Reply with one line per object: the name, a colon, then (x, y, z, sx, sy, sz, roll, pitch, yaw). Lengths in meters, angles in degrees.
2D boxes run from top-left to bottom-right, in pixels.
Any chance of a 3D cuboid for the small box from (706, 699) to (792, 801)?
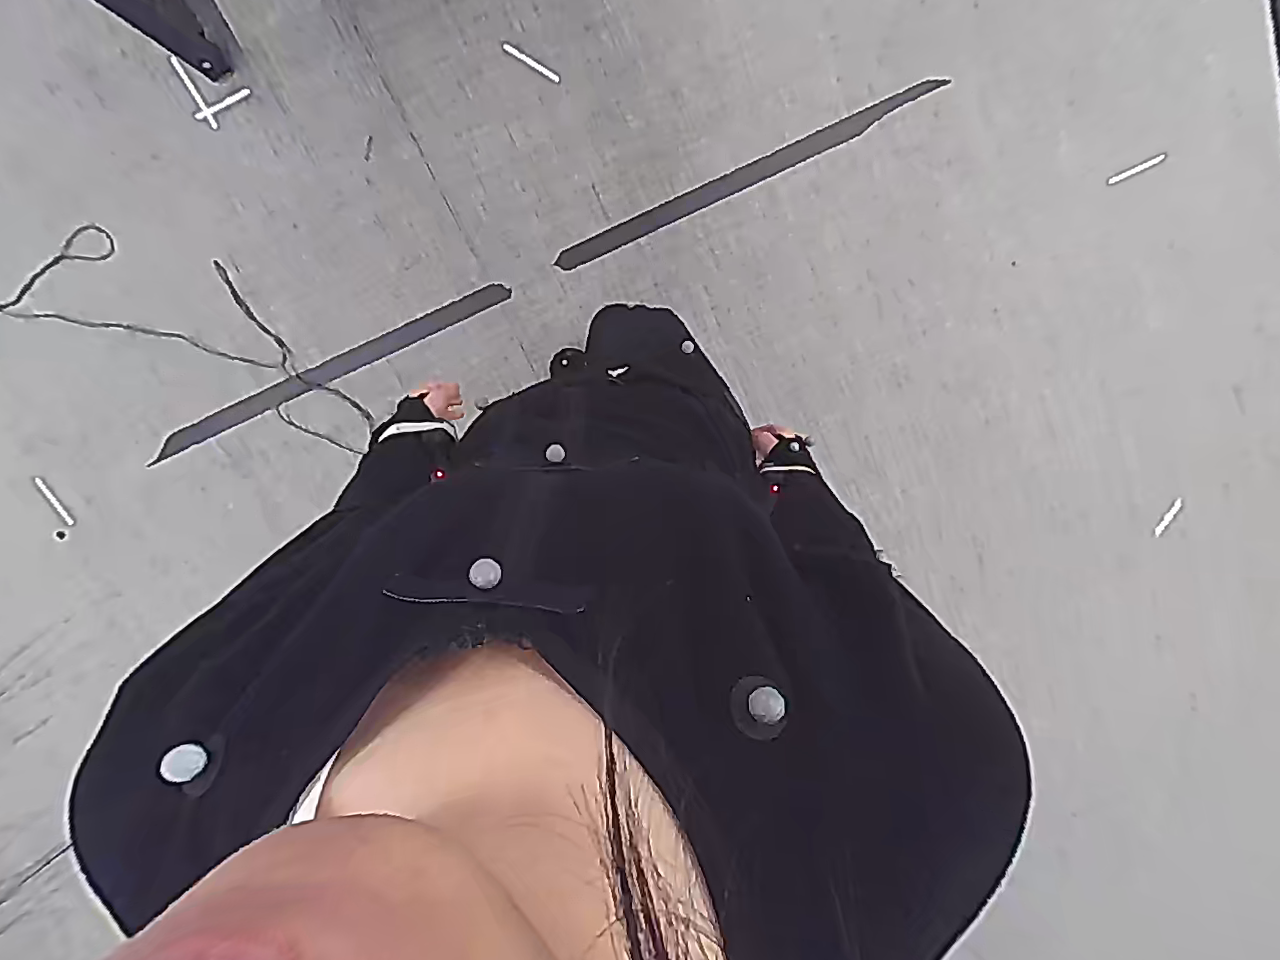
small box: (0.319, 0.799, 1.612, 0.168, 0.176, 0.179, -34, 104, 3)
